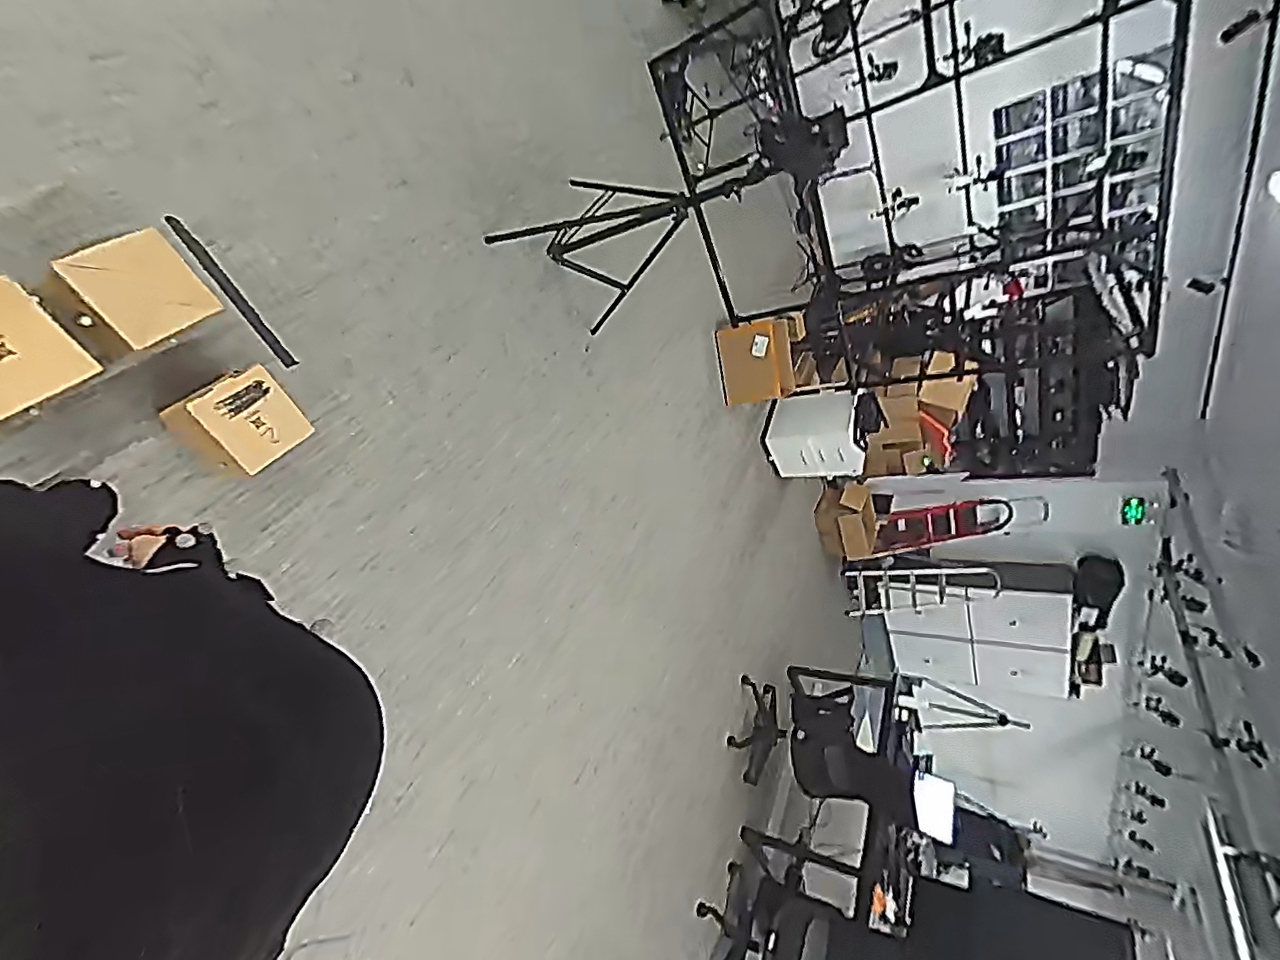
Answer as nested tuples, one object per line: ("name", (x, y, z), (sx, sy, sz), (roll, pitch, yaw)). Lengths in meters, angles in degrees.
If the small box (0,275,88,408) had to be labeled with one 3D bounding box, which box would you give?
("small box", (-1.072, -0.211, 0.873), (0.168, 0.176, 0.179), (-57, 132, -40))
